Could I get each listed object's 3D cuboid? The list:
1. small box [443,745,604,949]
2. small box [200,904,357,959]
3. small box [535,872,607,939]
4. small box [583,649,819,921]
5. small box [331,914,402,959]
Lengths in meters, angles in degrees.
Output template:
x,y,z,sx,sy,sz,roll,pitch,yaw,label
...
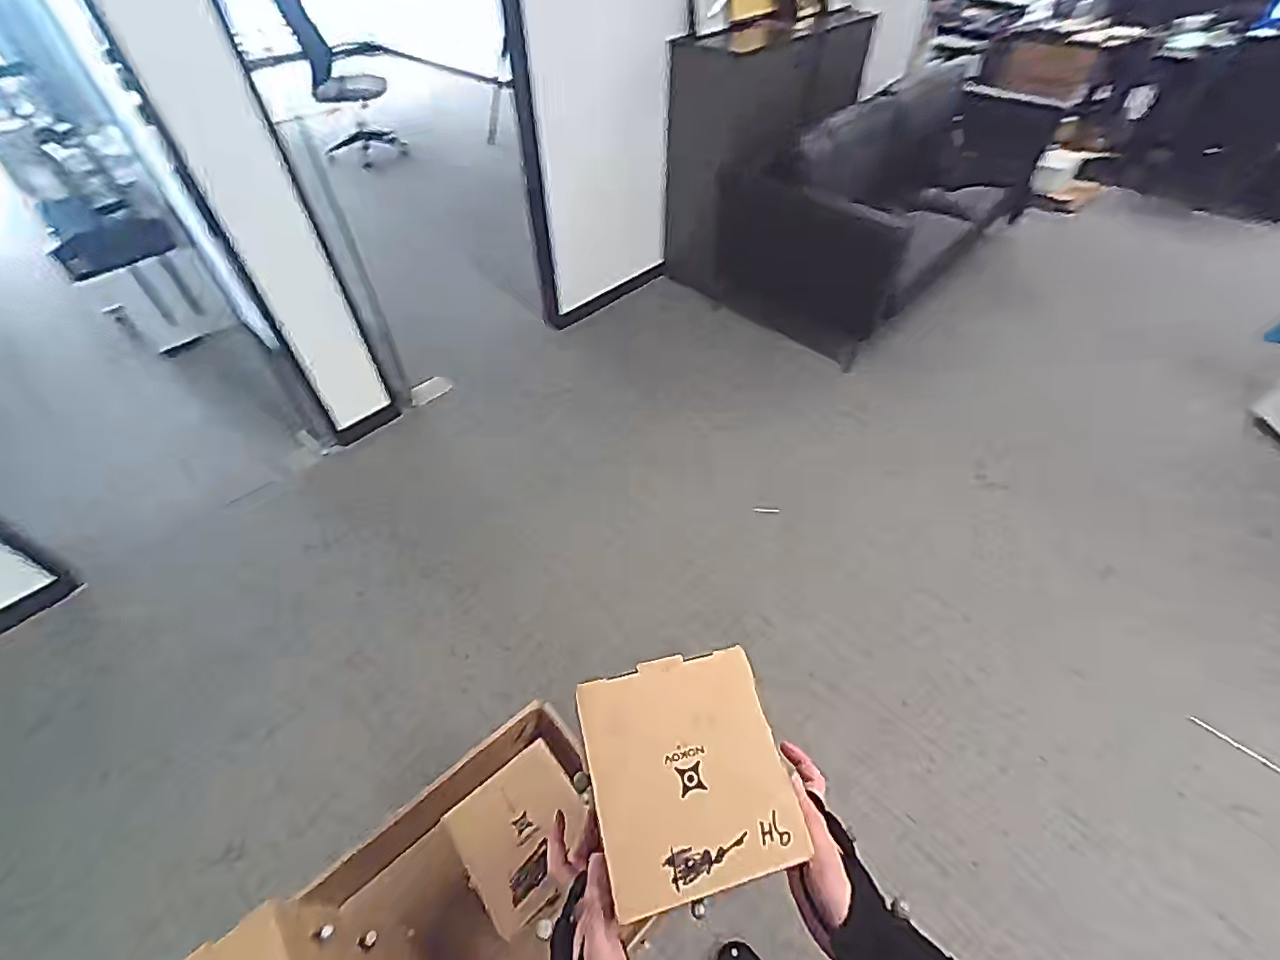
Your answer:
x,y,z,sx,sy,sz,roll,pitch,yaw,label
-0.157,0.537,0.797,0.168,0.176,0.179,-32,56,-26,small box
-0.385,0.579,0.541,0.168,0.176,0.179,-33,56,-24,small box
-0.160,0.641,0.925,0.168,0.176,0.179,-33,57,-26,small box
0.038,0.285,0.517,0.168,0.176,0.179,-9,58,-10,small box
-0.385,0.688,0.663,0.168,0.176,0.179,-32,56,-24,small box
